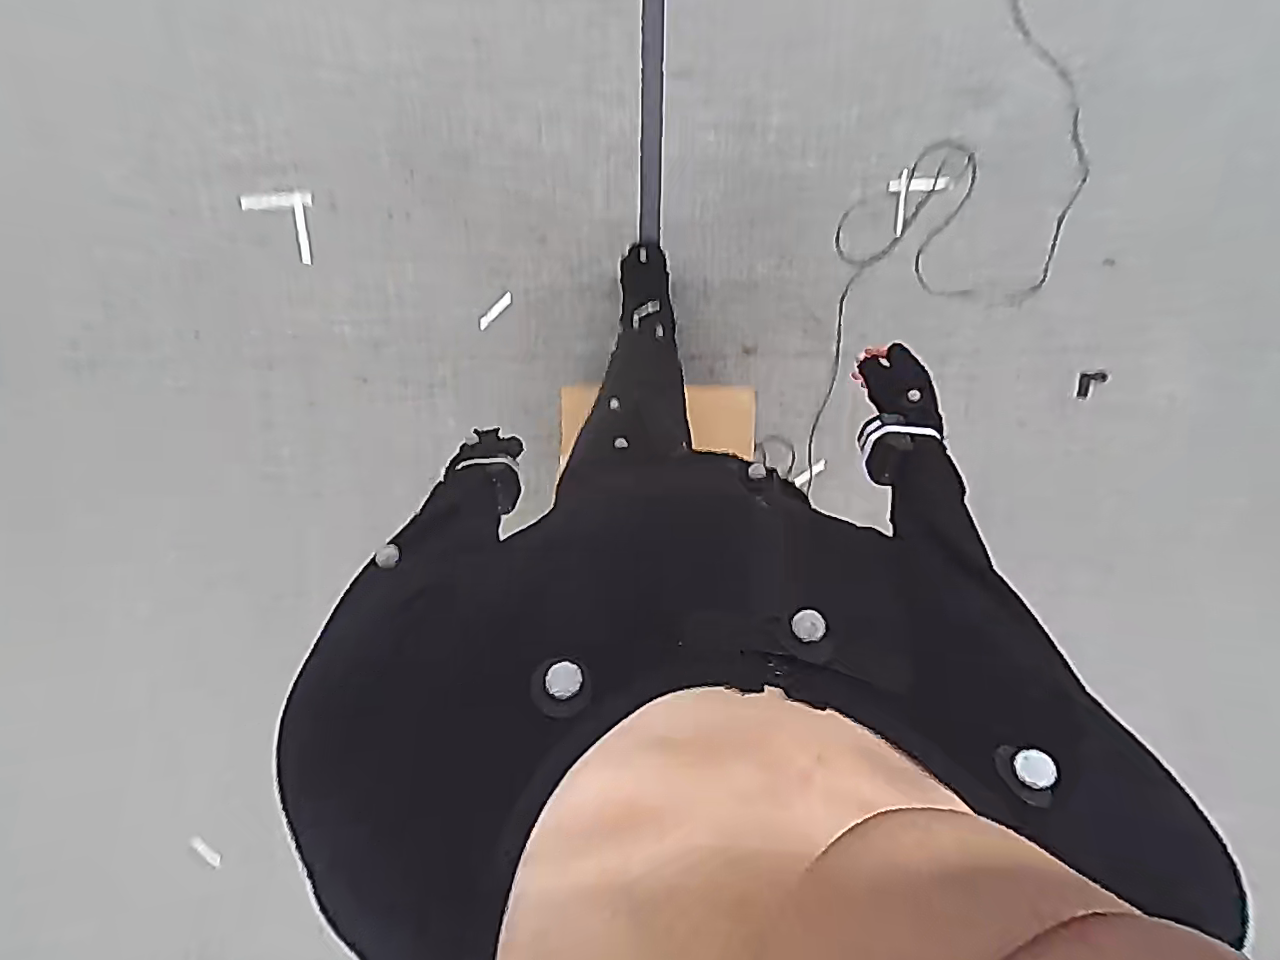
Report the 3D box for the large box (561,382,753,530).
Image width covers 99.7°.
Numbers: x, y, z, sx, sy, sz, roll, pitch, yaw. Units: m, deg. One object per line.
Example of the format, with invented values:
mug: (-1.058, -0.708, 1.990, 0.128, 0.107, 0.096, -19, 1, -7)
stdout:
large box: (0.037, -0.073, 1.287, 0.408, 0.320, 0.320, 0, 102, 1)
